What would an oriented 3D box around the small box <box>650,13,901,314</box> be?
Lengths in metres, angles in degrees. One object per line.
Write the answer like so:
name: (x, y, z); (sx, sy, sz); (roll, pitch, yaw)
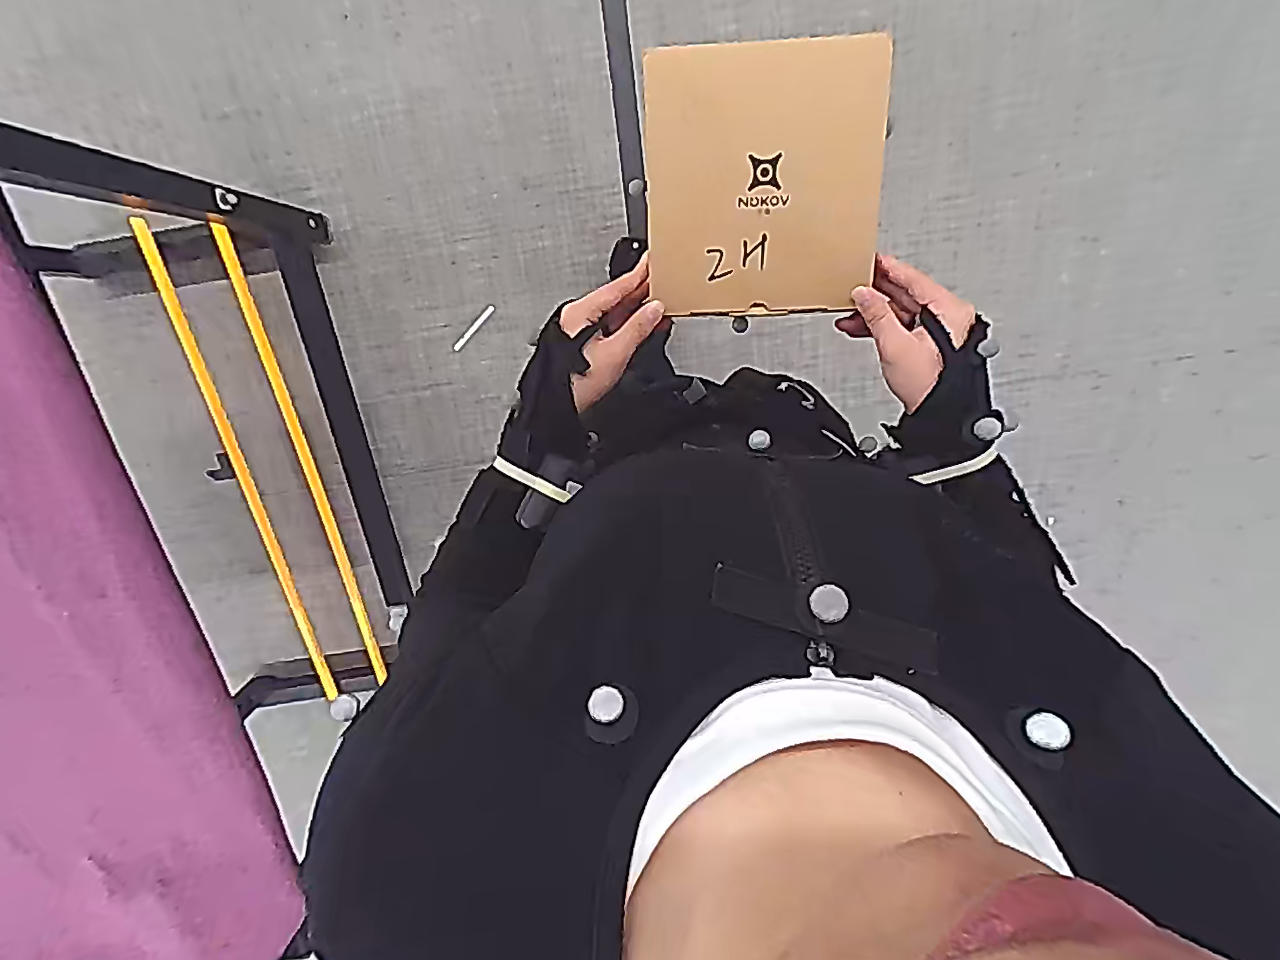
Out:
small box: (0.094, -0.234, 0.447); (0.168, 0.176, 0.179); (-1, 106, 5)
